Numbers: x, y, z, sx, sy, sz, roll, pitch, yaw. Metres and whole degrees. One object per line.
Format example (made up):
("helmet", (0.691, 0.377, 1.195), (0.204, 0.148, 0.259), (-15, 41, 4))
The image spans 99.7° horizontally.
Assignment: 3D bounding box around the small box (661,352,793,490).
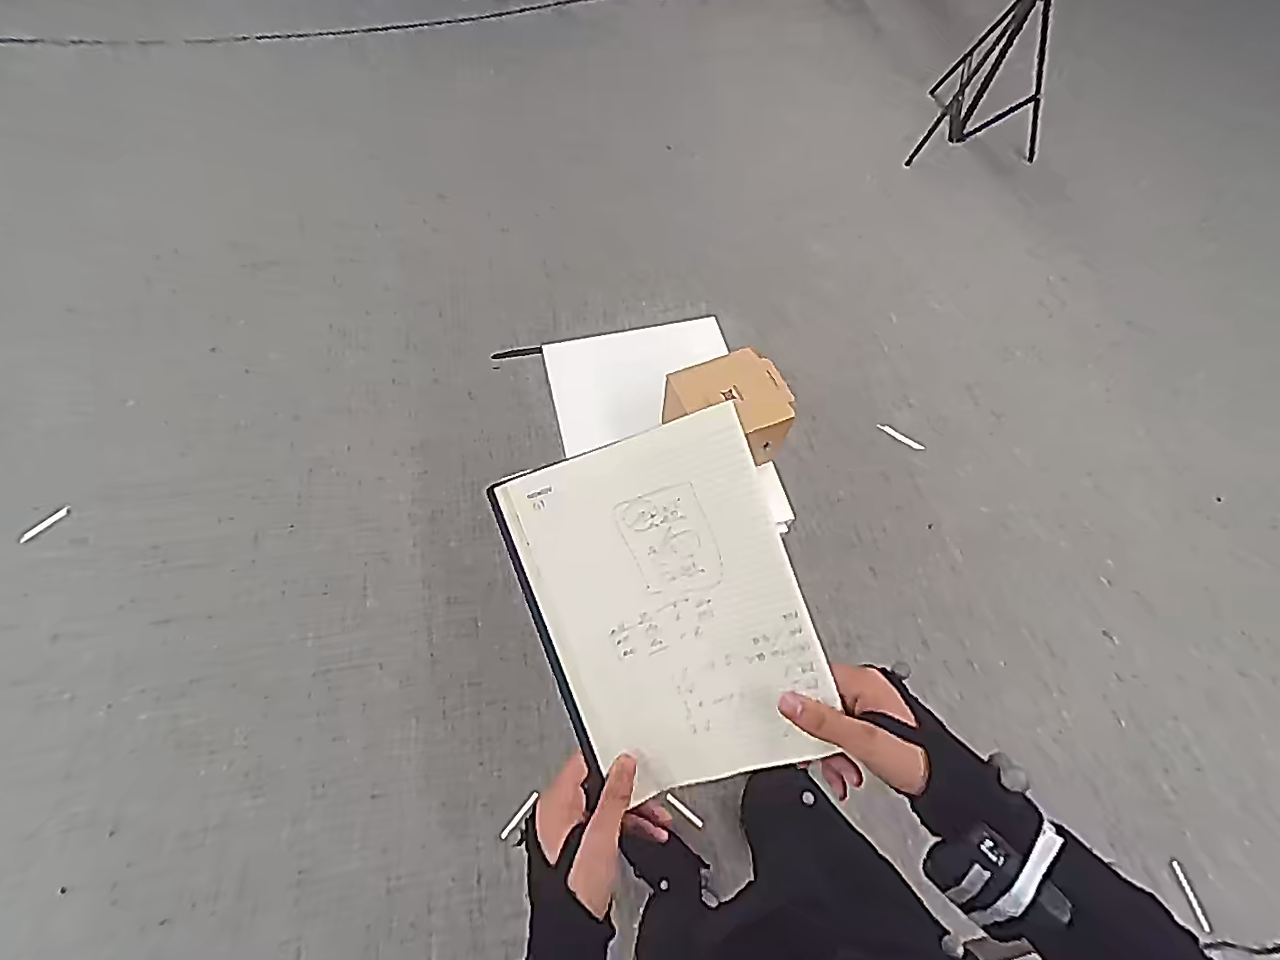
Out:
("small box", (0.152, -0.105, 1.016), (0.179, 0.176, 0.168), (-20, 66, -11))
